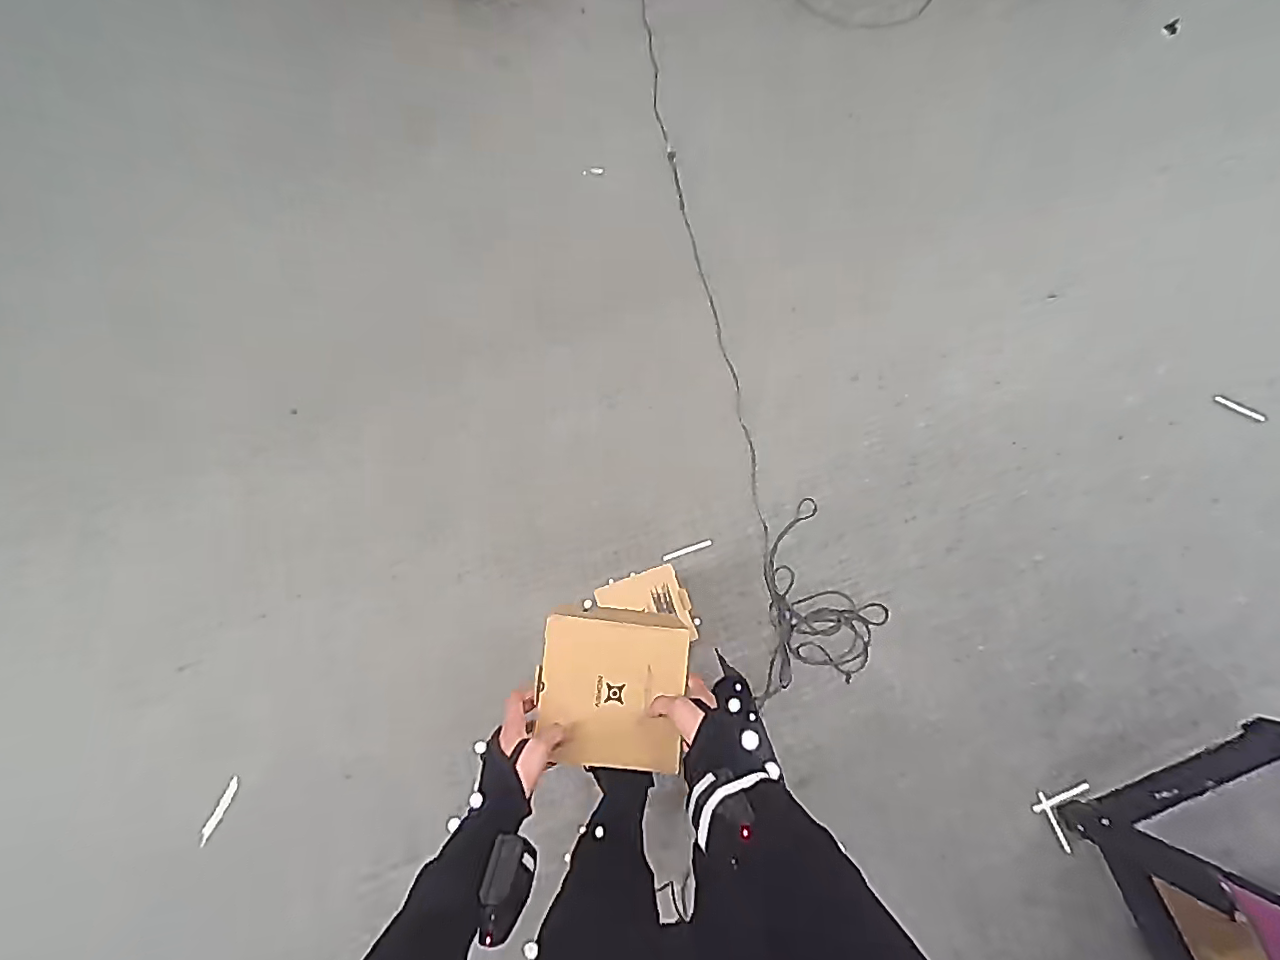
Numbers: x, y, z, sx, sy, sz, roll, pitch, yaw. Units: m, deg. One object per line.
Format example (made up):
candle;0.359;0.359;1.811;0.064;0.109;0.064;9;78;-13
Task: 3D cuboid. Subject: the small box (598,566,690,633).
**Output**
small box;0.011;0.325;1.332;0.179;0.176;0.168;-21;78;-4

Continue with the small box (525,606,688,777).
small box;-0.038;0.260;0.704;0.179;0.176;0.168;6;83;-1
